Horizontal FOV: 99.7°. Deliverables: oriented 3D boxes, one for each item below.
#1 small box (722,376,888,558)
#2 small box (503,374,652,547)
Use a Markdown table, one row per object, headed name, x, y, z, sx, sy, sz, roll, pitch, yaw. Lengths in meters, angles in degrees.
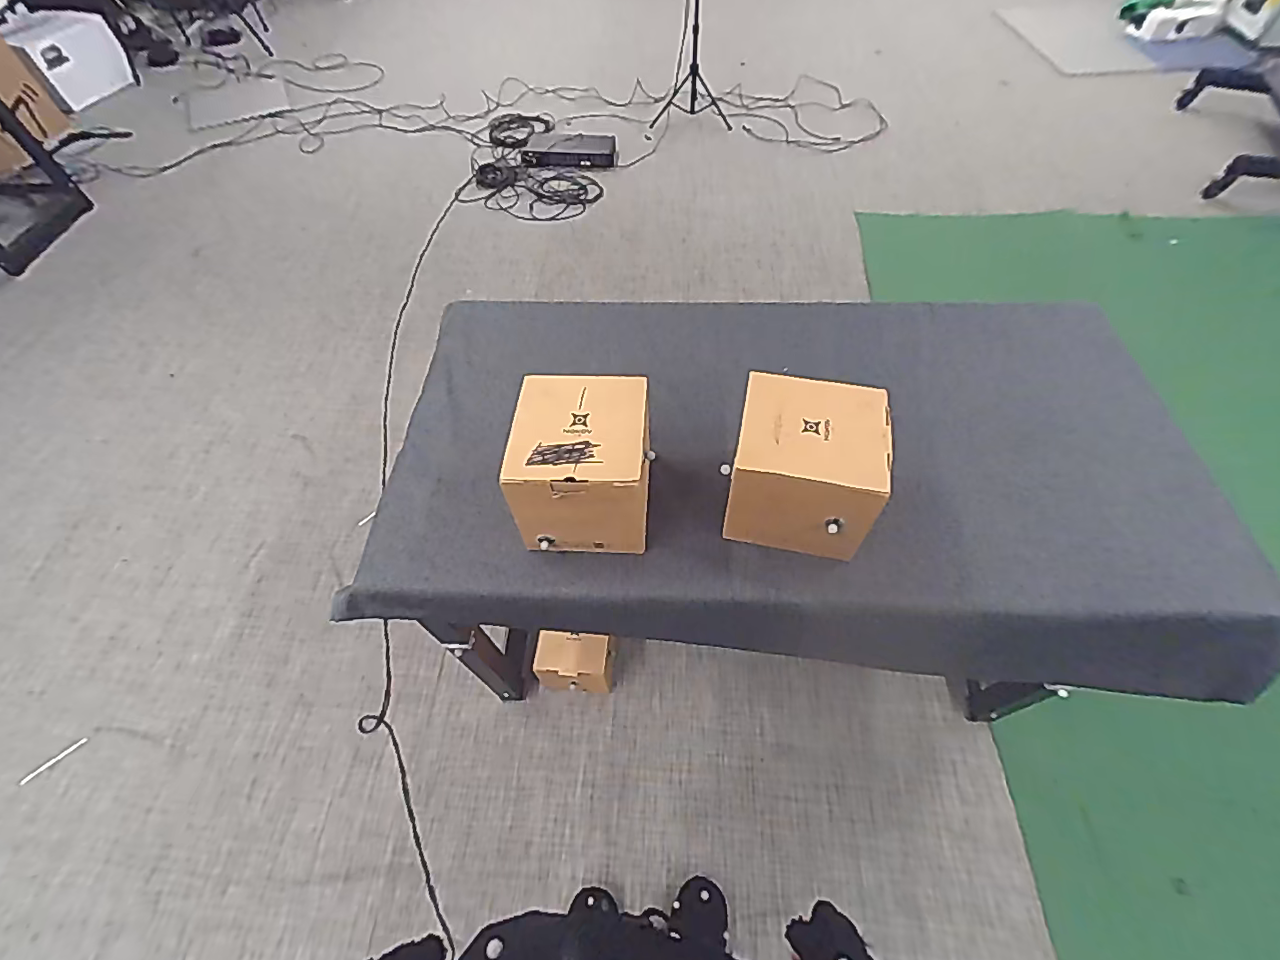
| name | x | y | z | sx | sy | sz | roll | pitch | yaw |
| --- | --- | --- | --- | --- | --- | --- | --- | --- | --- |
| small box | 0.214 | -0.012 | 0.726 | 0.179 | 0.176 | 0.168 | 10 | 56 | 9 |
| small box | -0.071 | -0.023 | 0.736 | 0.168 | 0.176 | 0.179 | 3 | 54 | 3 |
